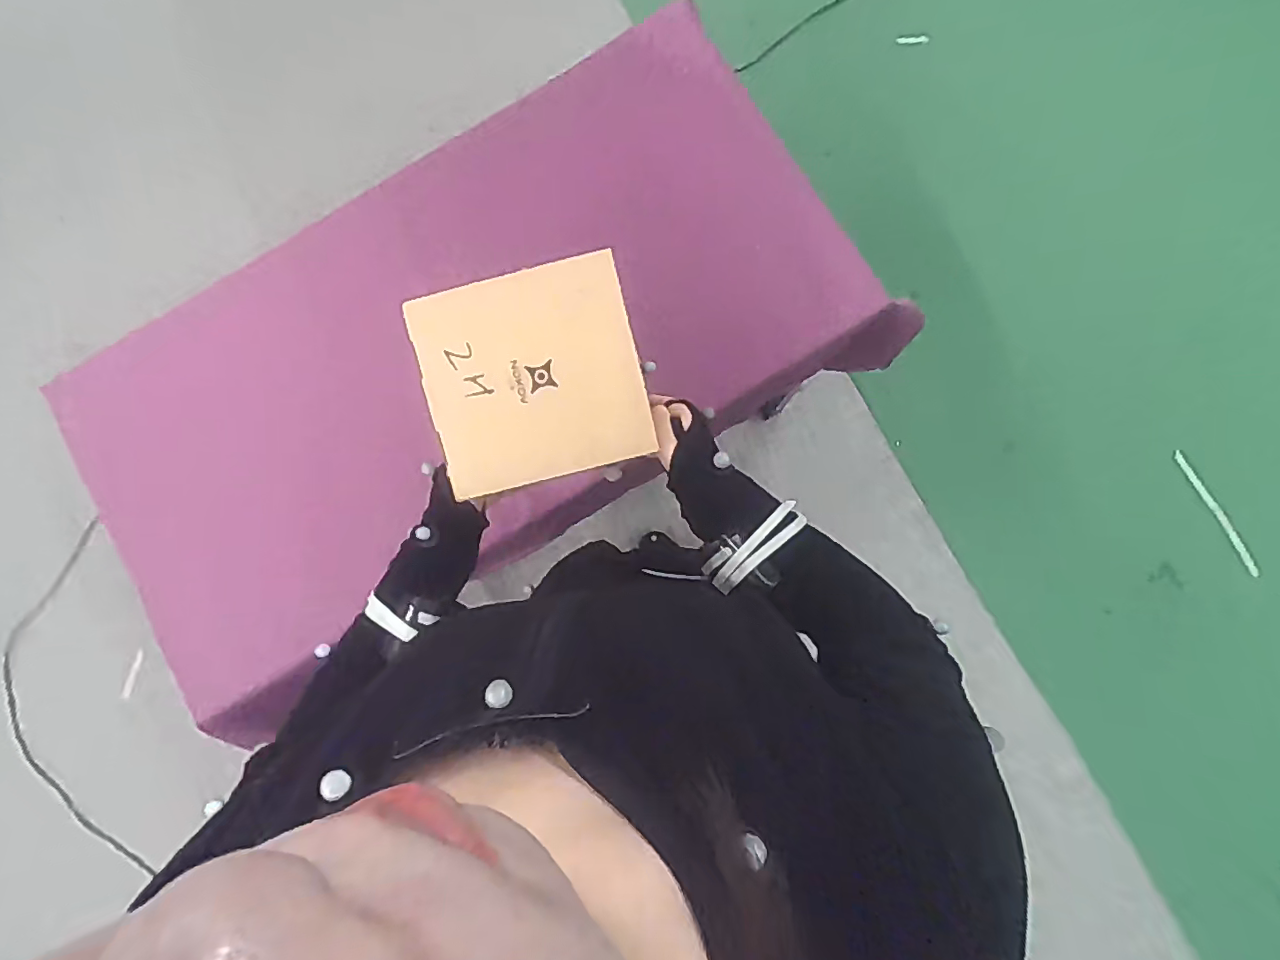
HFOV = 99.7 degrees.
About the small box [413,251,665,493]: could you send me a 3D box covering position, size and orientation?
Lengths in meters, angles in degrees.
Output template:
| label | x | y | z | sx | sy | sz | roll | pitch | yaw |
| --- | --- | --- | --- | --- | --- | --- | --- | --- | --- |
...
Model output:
| label | x | y | z | sx | sy | sz | roll | pitch | yaw |
| --- | --- | --- | --- | --- | --- | --- | --- | --- | --- |
| small box | -0.080 | -0.095 | 0.516 | 0.179 | 0.176 | 0.168 | -13 | 95 | 3 |
